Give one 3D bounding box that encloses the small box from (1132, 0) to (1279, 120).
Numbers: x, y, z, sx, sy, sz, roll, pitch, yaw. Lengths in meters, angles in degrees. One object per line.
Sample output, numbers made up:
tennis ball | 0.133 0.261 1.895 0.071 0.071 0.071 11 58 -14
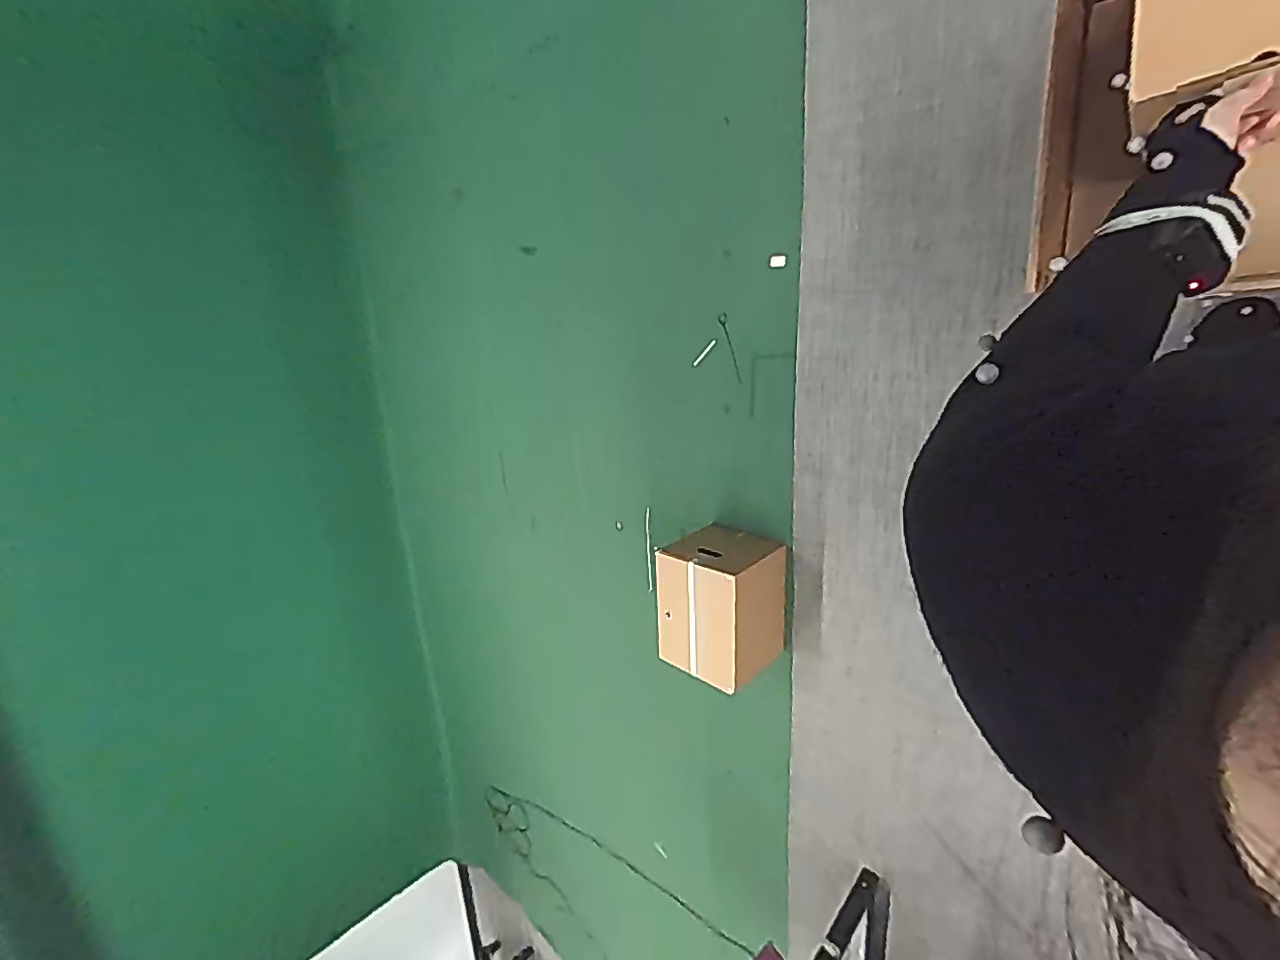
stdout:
small box | 0.551 -0.444 0.472 0.168 0.176 0.179 5 107 43
